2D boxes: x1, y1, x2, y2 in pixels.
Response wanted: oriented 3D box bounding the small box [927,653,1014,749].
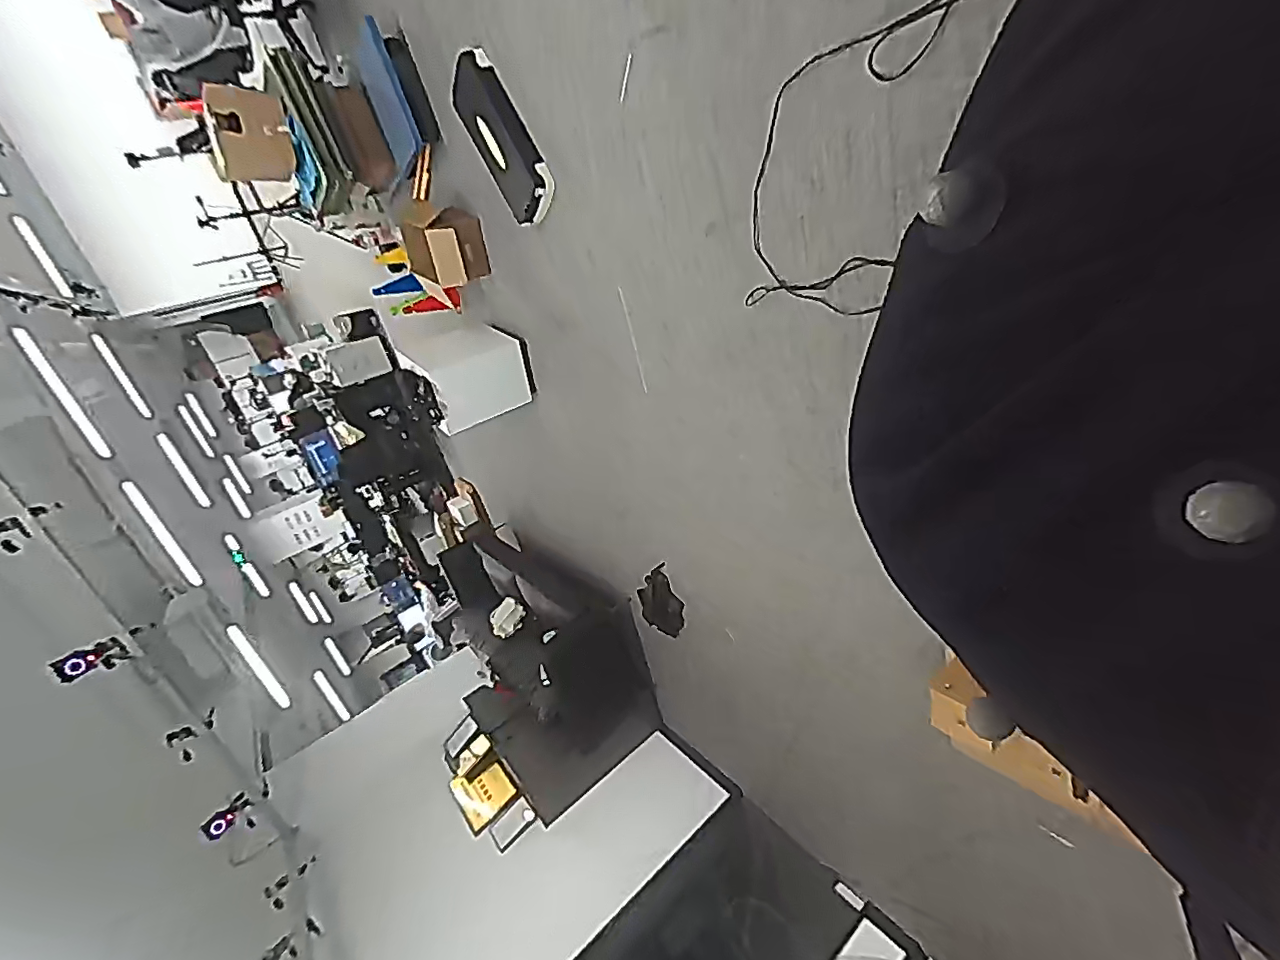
[{"bbox_3d":[0.999,0.657,1.632,0.179,0.176,0.168,18,131,52],"label":"small box"}]
